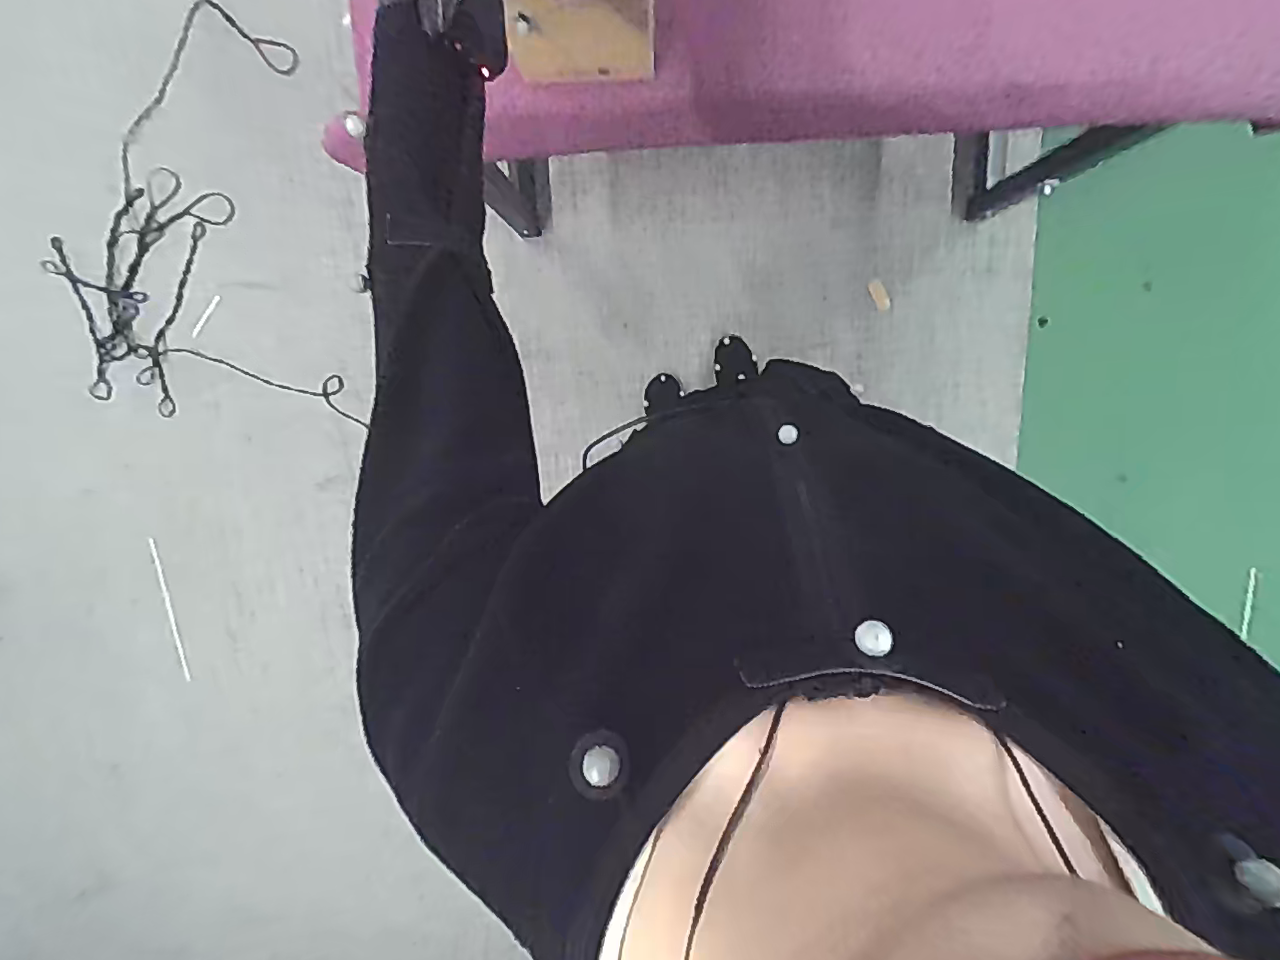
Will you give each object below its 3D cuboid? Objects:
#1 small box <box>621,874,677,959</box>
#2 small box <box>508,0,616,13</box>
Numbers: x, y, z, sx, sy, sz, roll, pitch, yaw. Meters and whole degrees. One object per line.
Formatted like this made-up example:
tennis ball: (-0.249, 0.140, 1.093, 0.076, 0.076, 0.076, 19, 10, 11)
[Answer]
small box: (0.029, 1.372, 1.684, 0.168, 0.176, 0.179, 2, 101, 3)
small box: (-0.065, -0.532, 0.430, 0.168, 0.176, 0.179, -5, 100, 4)
